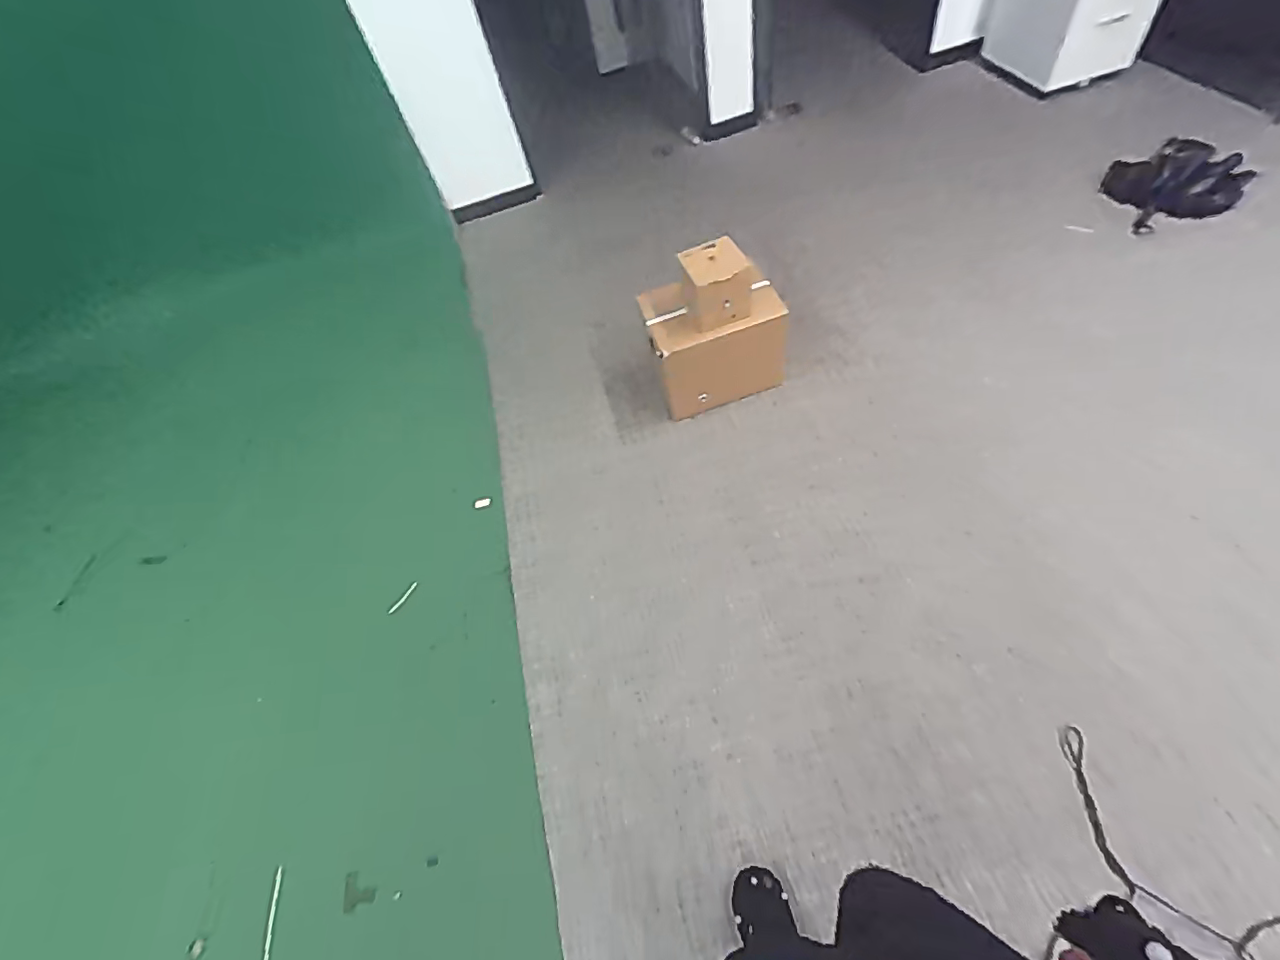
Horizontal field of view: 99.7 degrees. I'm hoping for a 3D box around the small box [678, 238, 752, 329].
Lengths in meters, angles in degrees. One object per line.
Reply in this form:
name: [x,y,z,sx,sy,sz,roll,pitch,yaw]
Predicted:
small box: [0.227,-0.572,1.599,0.168,0.176,0.179,-20,56,-1]
